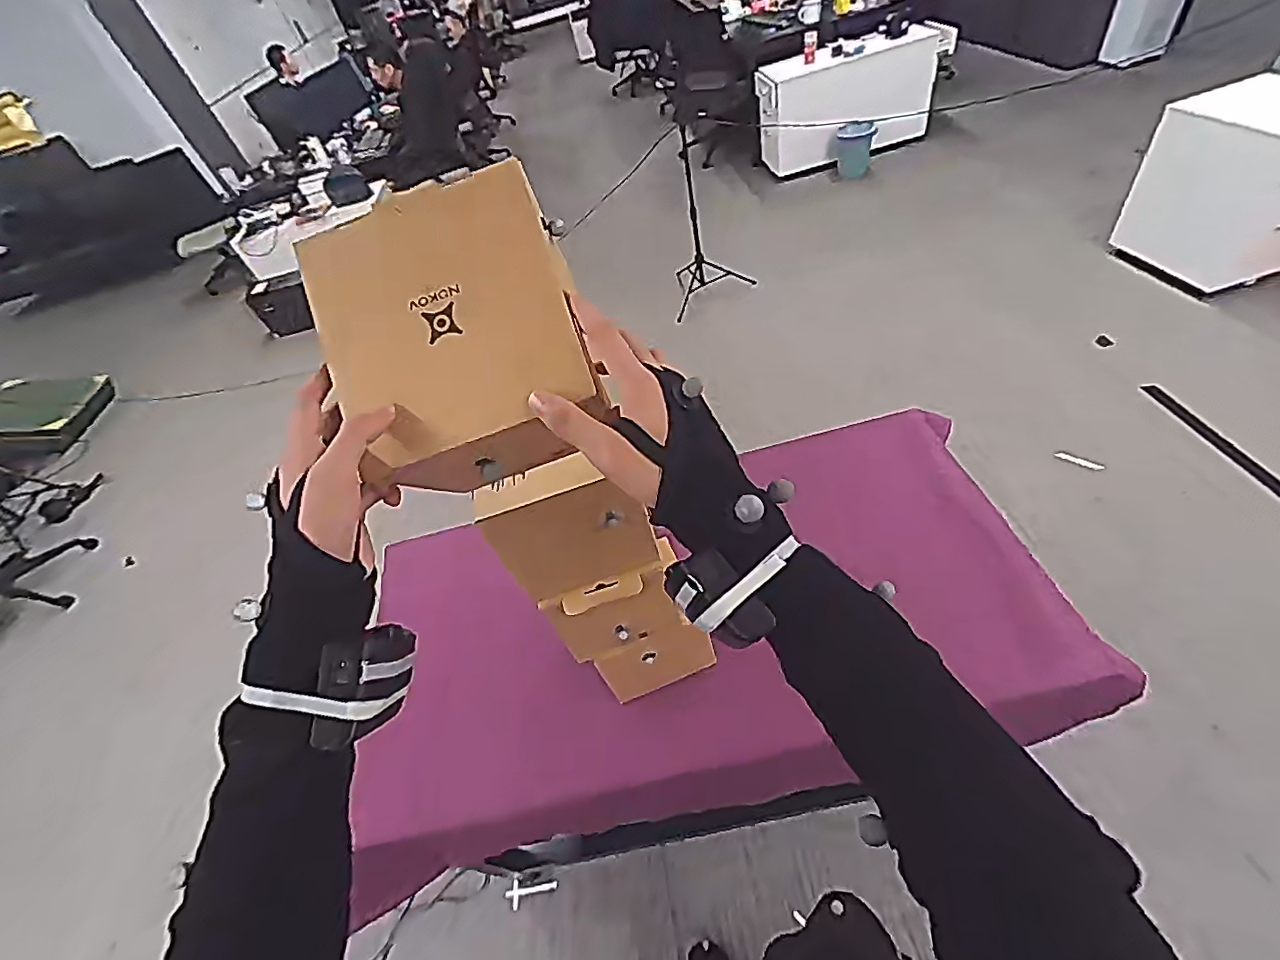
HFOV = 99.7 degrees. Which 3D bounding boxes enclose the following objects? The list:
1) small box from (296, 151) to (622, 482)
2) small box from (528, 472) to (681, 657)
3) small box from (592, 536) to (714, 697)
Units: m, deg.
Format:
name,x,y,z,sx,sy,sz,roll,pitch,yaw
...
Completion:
name,x,y,z,sx,sy,sz,roll,pitch,yaw
small box,-0.122,-0.104,0.431,0.168,0.176,0.179,-20,82,3
small box,-0.049,0.123,0.779,0.168,0.176,0.179,-18,47,0
small box,0.007,0.229,0.894,0.179,0.176,0.168,-21,47,-4
